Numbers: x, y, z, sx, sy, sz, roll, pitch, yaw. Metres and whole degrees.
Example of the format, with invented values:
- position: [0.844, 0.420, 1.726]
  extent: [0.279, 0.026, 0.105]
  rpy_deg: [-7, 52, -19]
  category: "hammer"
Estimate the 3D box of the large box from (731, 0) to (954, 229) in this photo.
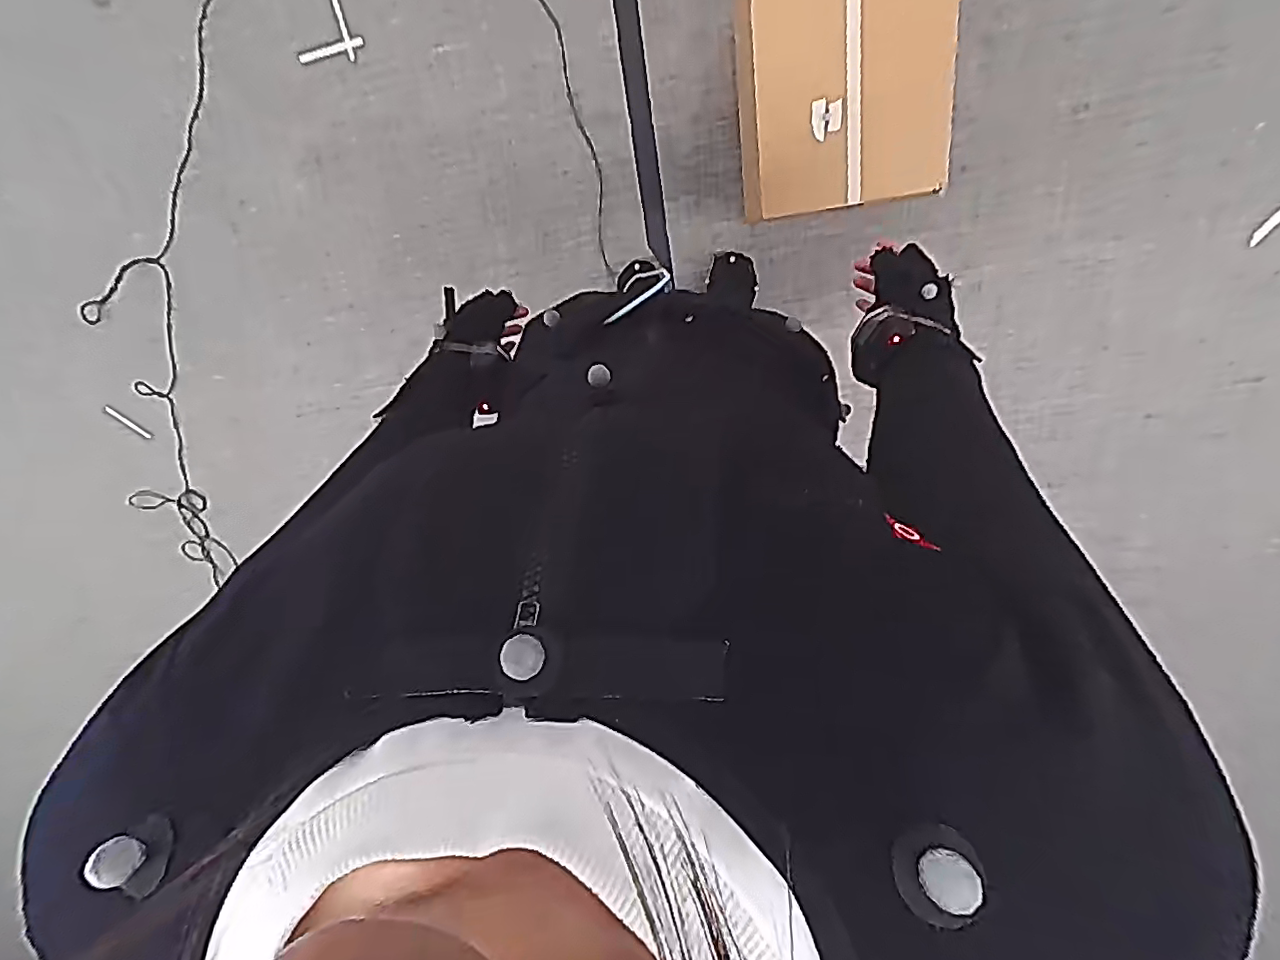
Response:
- position: [0.355, -0.717, 1.013]
  extent: [0.320, 0.320, 0.408]
  rpy_deg: [-6, 113, 9]
  category: "large box"
